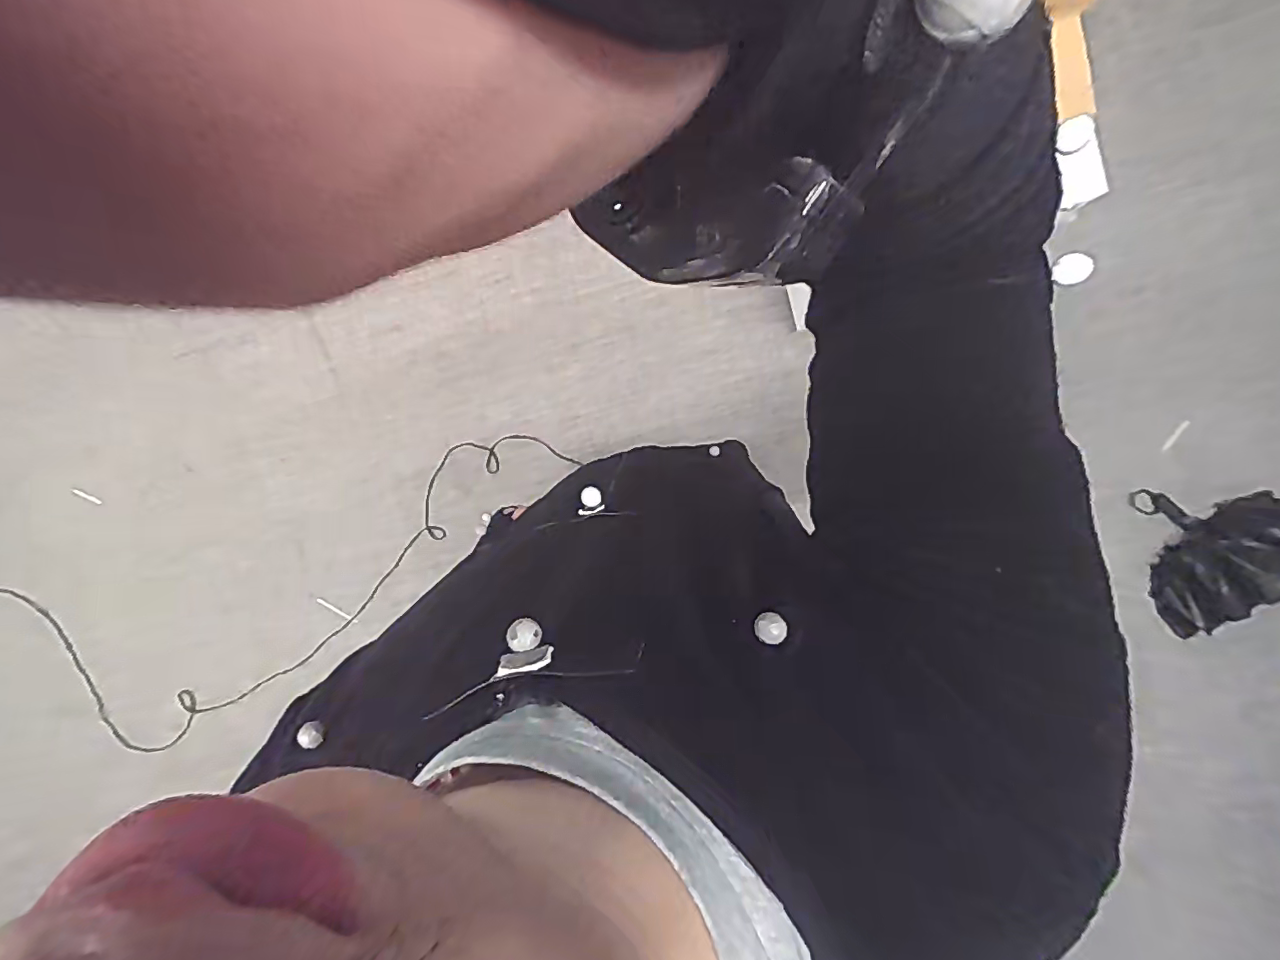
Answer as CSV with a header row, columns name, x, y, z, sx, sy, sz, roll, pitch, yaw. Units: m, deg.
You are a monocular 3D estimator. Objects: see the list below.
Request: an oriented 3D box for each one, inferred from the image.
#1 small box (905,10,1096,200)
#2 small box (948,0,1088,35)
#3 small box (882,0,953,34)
name,x,y,z,sx,sy,sz,roll,pitch,yaw
small box,0.520,-0.557,0.806,0.168,0.176,0.179,-12,93,6
small box,0.482,-0.679,0.640,0.168,0.176,0.179,-12,91,5
small box,0.465,-0.811,0.796,0.168,0.176,0.179,-14,94,5
